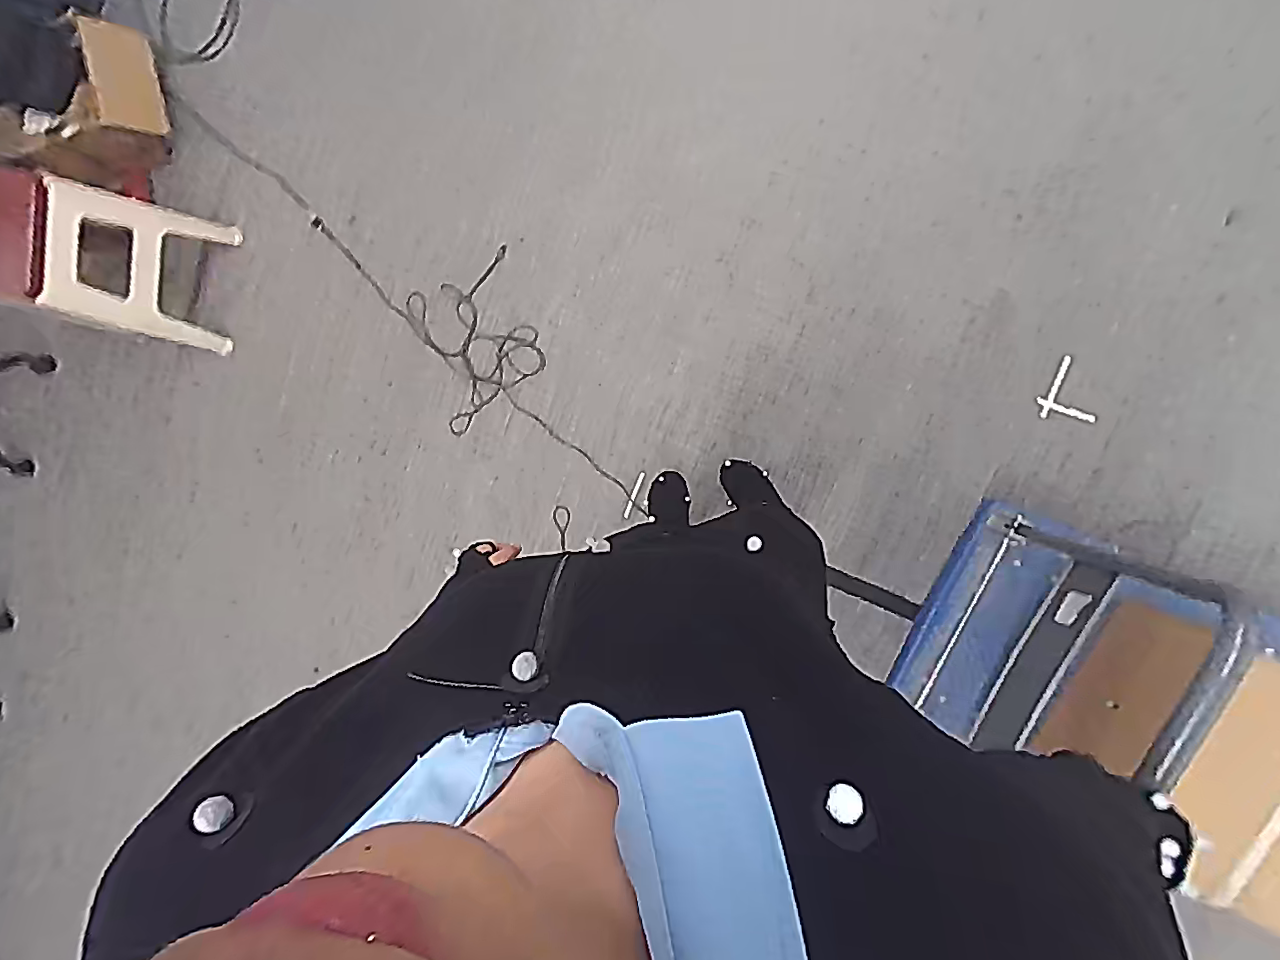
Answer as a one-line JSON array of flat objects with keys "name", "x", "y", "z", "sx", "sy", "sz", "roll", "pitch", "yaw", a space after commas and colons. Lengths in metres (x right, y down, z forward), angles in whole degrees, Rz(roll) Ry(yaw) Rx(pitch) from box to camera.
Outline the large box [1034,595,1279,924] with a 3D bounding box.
[{"name": "large box", "x": 1.048, "y": 0.488, "z": 1.002, "sx": 0.320, "sy": 0.320, "sz": 0.408, "roll": 25, "pitch": 97, "yaw": 7}]
